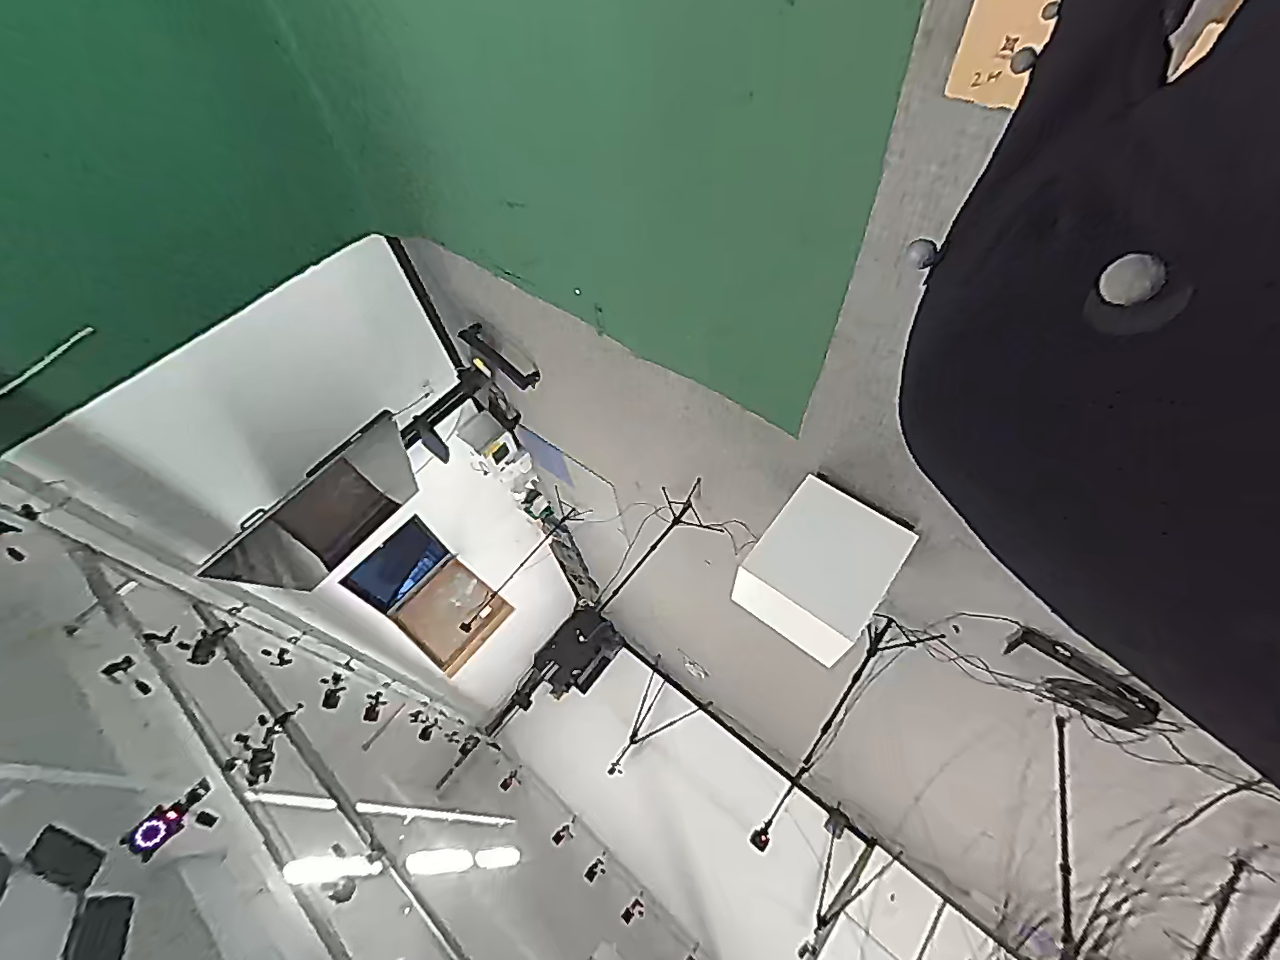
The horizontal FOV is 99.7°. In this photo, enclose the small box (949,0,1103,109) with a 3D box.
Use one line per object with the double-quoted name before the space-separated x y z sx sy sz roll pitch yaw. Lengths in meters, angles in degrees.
"small box" 0.704 -0.818 0.976 0.168 0.176 0.179 34 156 24
